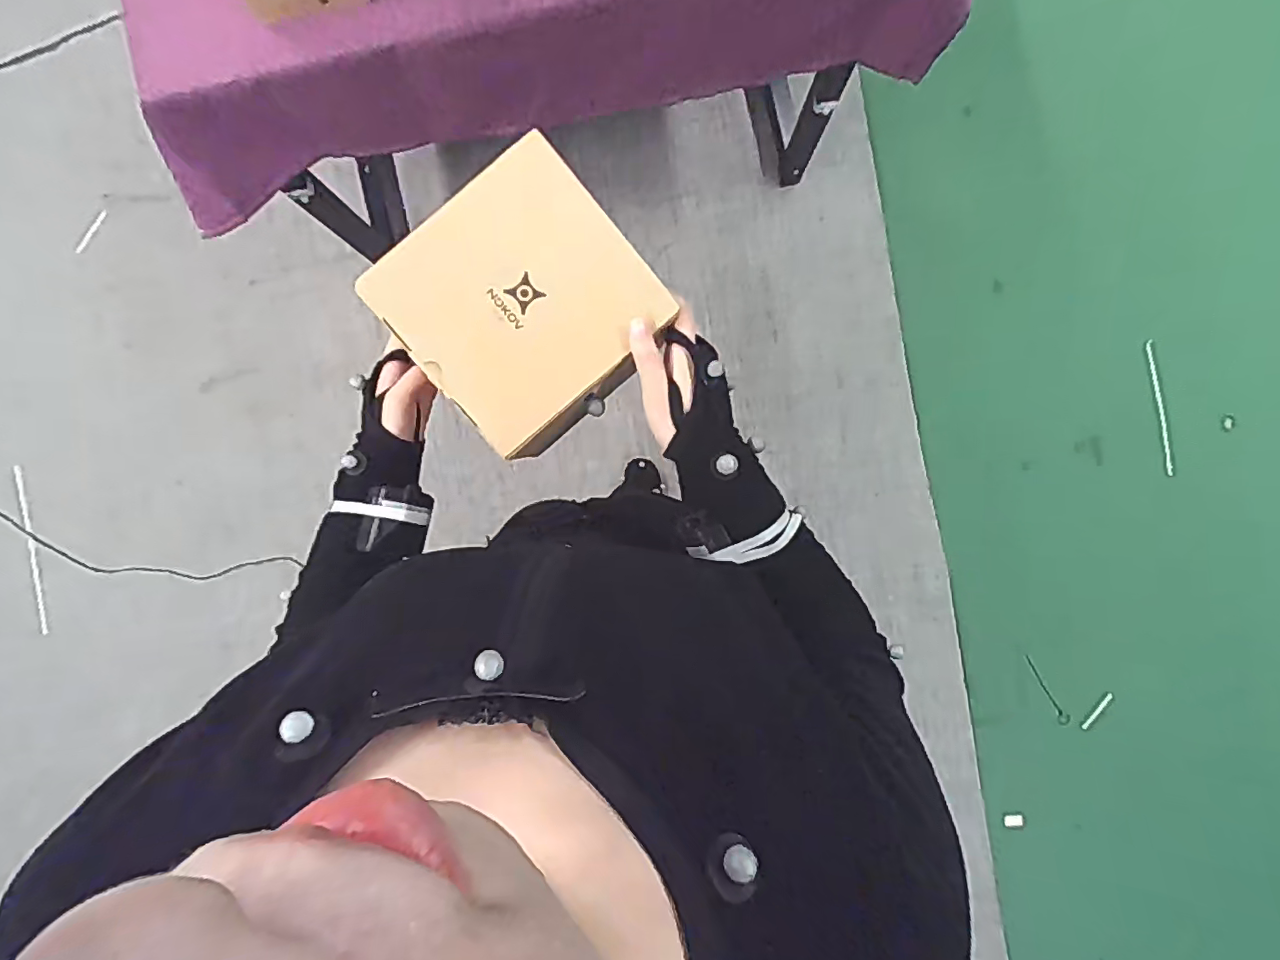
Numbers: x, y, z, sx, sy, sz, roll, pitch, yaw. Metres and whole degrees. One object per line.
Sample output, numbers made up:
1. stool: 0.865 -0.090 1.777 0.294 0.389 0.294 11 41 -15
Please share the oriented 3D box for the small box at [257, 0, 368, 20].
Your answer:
1. small box: -0.481 -0.767 0.708 0.168 0.176 0.179 -10 89 2
